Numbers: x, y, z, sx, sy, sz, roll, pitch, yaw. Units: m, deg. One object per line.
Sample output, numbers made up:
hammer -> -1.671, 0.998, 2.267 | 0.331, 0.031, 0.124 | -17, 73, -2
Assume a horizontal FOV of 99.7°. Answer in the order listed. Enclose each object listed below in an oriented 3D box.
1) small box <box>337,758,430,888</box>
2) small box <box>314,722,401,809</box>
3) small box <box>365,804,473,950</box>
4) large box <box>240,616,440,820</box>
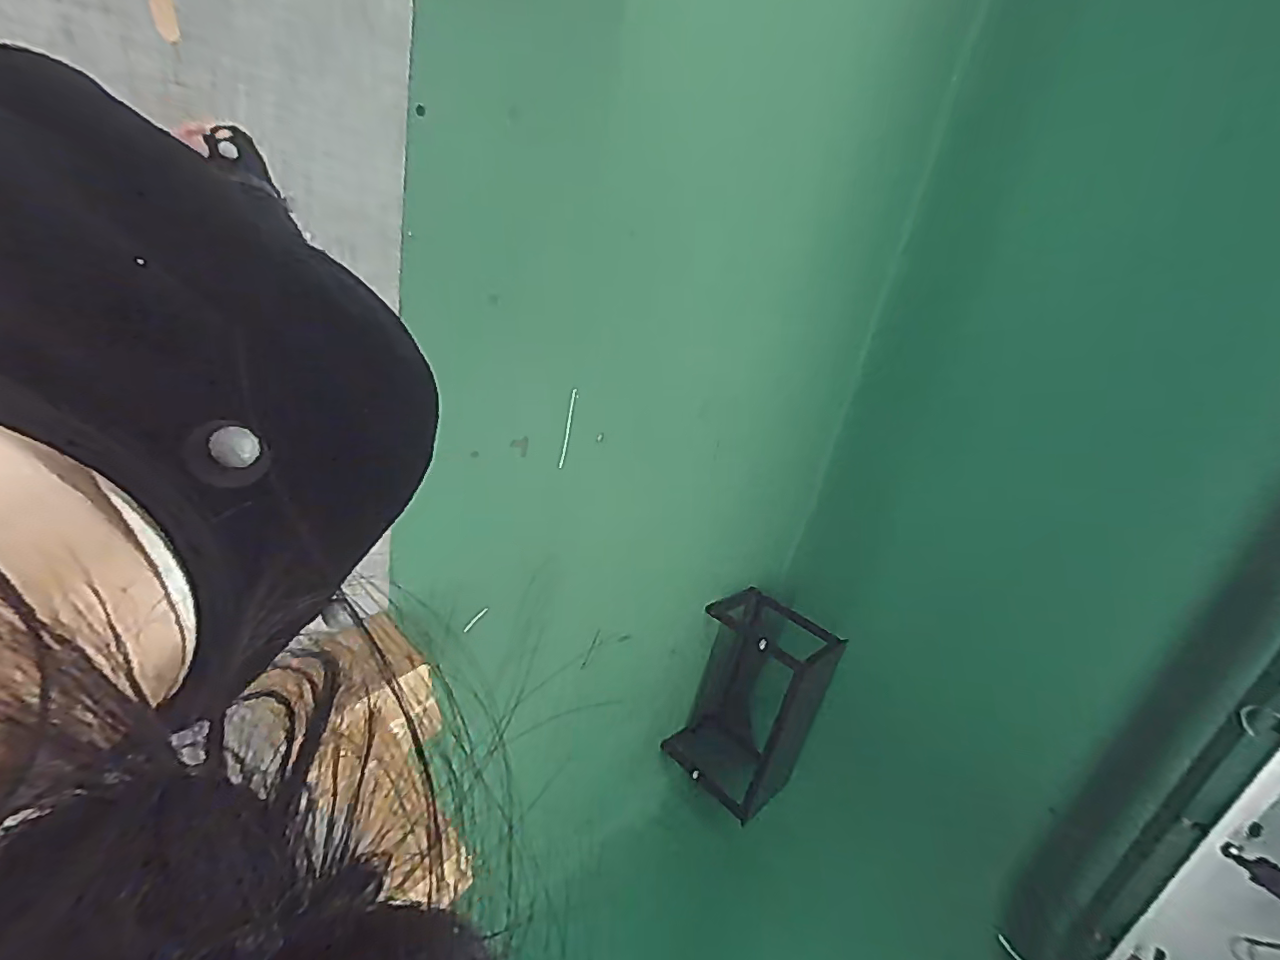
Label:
small box -> -0.631, 0.847, 1.349 | 0.179, 0.176, 0.168 | -26, 129, -38
small box -> -0.744, 0.784, 1.449 | 0.168, 0.176, 0.179 | -25, 129, -38
small box -> -0.514, 0.909, 1.251 | 0.179, 0.176, 0.168 | -24, 129, -37
large box -> -0.886, 0.691, 1.630 | 0.408, 0.320, 0.320 | -27, 131, -39
